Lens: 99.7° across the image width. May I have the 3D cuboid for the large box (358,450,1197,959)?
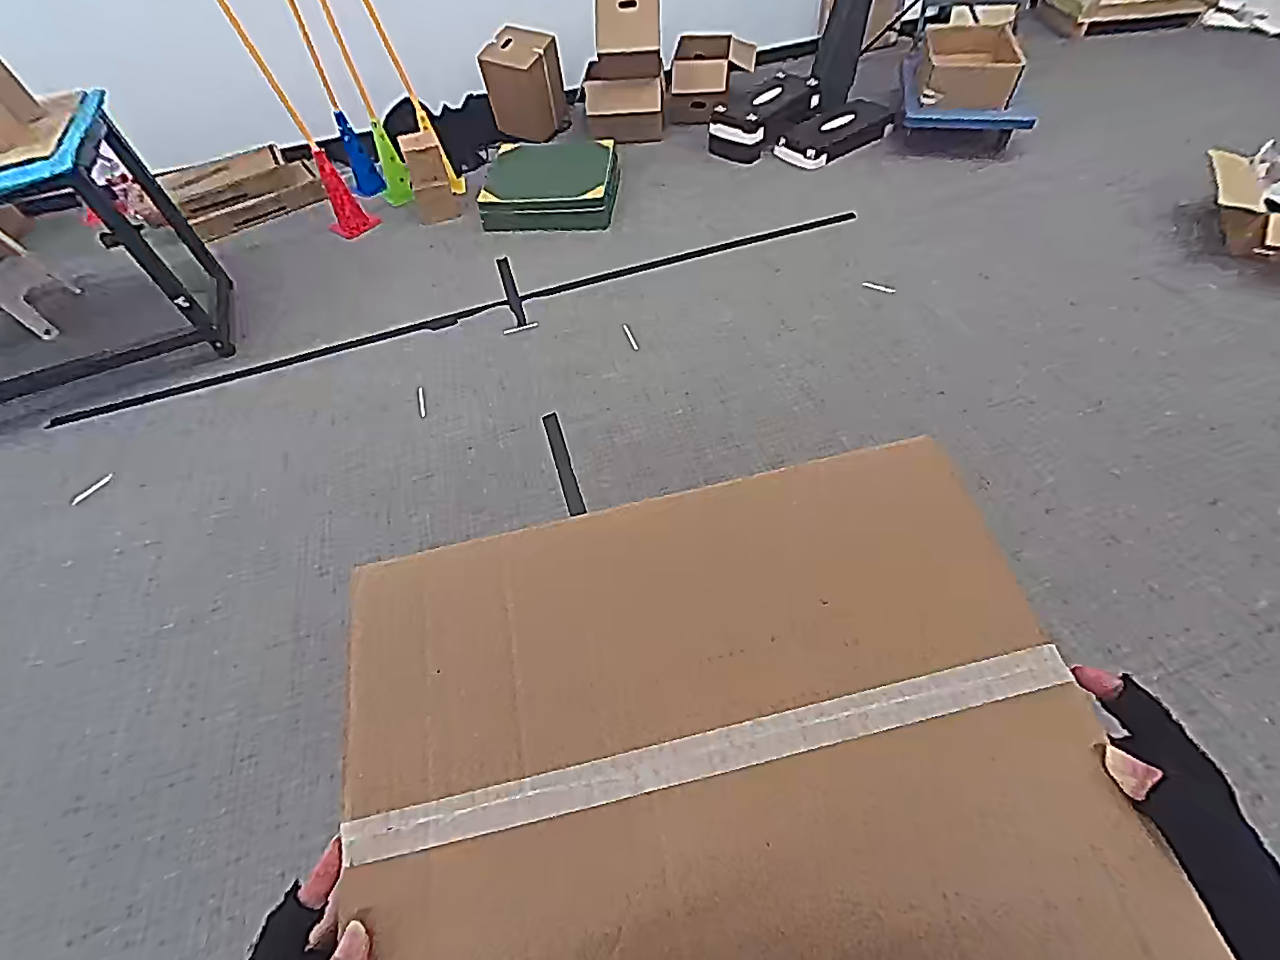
[{"bbox_3d":[0.051,0.222,0.441,0.408,0.320,0.320,-13,61,-2],"label":"large box"}]
